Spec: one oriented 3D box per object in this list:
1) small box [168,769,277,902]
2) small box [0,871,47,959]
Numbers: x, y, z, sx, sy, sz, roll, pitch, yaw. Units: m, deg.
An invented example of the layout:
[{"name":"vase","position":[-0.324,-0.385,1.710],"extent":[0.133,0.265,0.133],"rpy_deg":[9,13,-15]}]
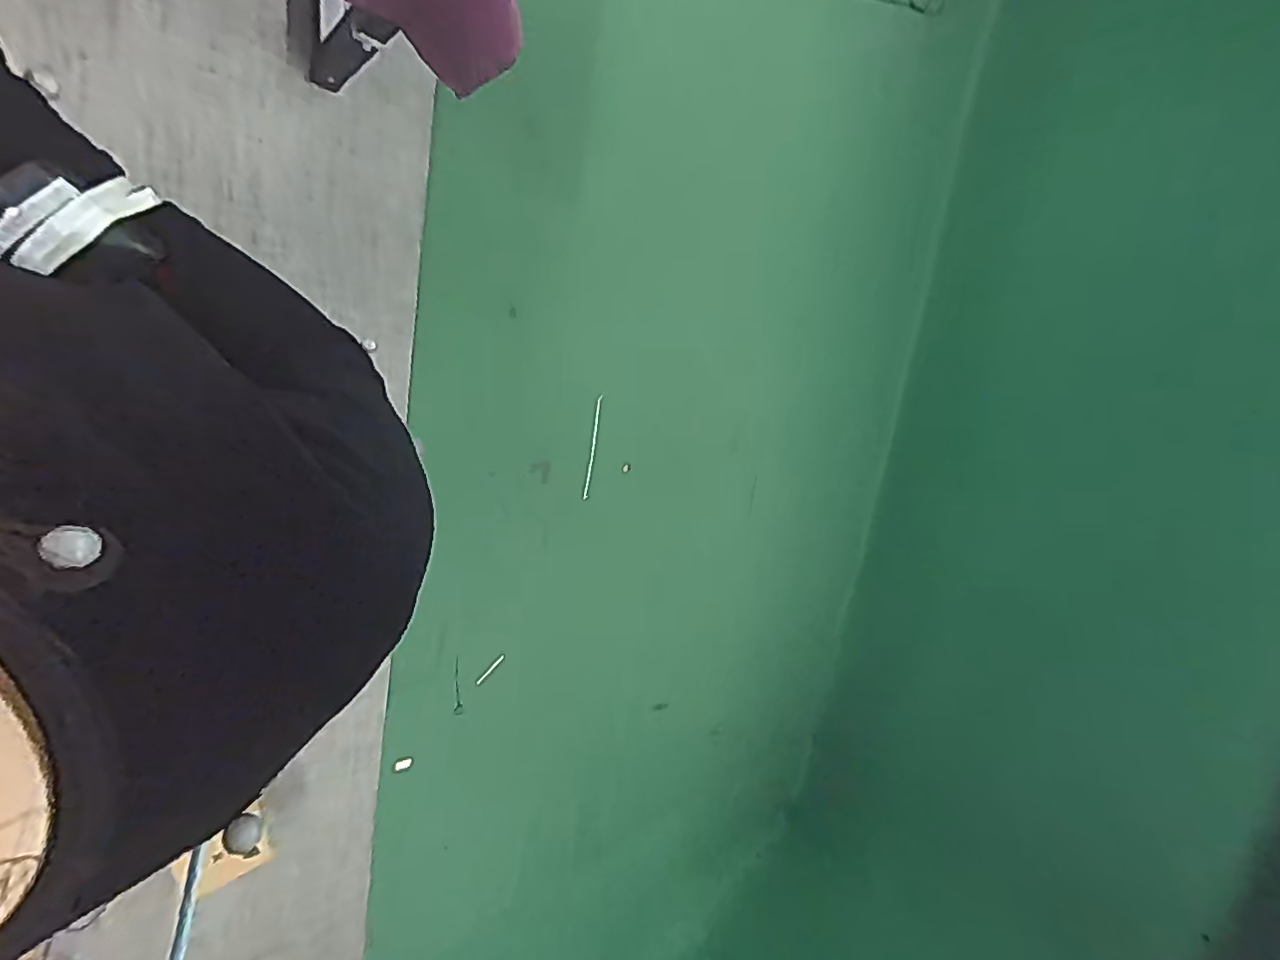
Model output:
[{"name":"small box","position":[-1.026,0.860,1.329],"extent":[0.179,0.176,0.168],"rpy_deg":[-16,114,-39]},{"name":"small box","position":[-1.321,0.941,1.074],"extent":[0.179,0.176,0.168],"rpy_deg":[0,105,-44]}]
